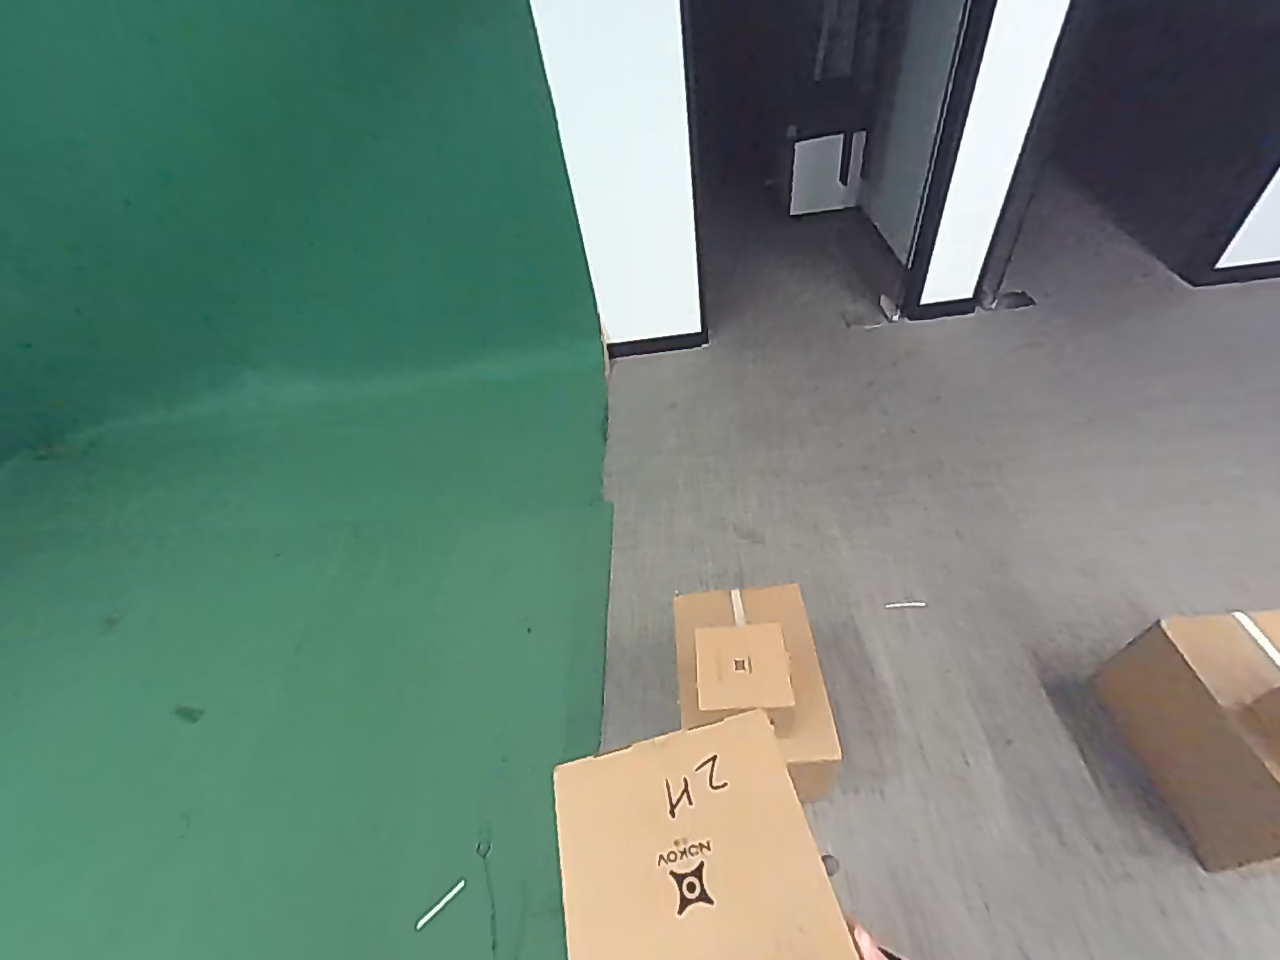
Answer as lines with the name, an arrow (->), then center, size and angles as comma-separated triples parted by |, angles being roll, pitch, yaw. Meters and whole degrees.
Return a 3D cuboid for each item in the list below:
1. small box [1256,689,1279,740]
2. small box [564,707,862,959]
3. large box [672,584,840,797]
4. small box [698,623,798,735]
small box -> 1.215, 0.408, 0.890 | 0.179, 0.176, 0.168 | -8, 47, 5
small box -> 0.049, 0.305, 0.403 | 0.168, 0.176, 0.179 | -14, 43, -2
large box -> 0.260, 0.517, 1.306 | 0.320, 0.320, 0.408 | -7, 46, 5
small box -> 0.211, 0.403, 1.083 | 0.179, 0.176, 0.168 | -6, 46, 9
